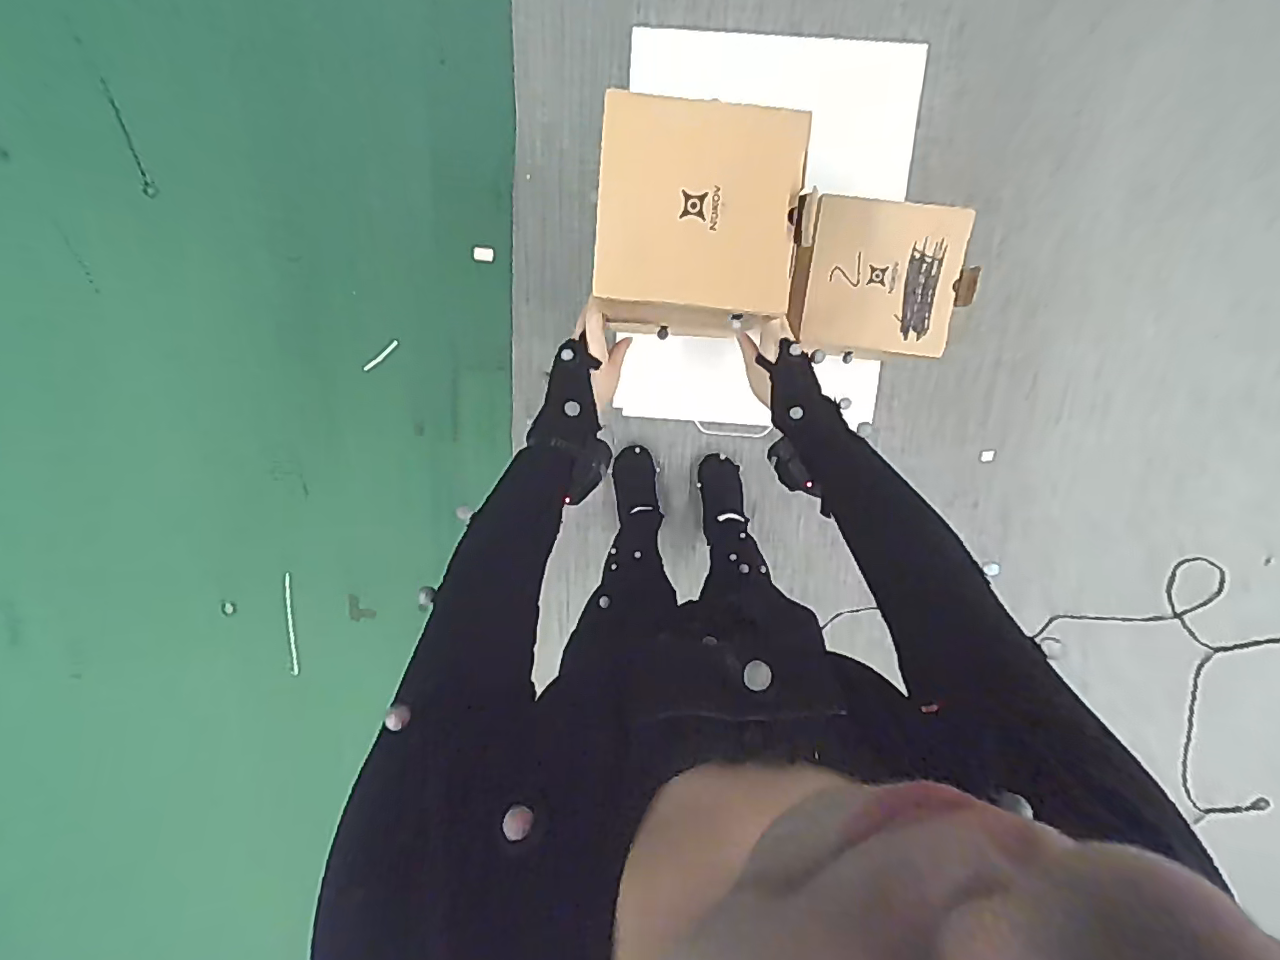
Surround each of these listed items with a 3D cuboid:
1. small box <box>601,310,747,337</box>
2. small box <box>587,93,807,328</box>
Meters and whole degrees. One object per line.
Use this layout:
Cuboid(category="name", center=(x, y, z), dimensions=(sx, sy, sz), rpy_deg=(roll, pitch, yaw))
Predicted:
Cuboid(category="small box", center=(0.046, -0.278, 0.702), dimensions=(0.179, 0.176, 0.168), rpy_deg=(3, 102, -1))
Cuboid(category="small box", center=(0.045, -0.248, 0.541), dimensions=(0.179, 0.176, 0.168), rpy_deg=(4, 101, -3))
